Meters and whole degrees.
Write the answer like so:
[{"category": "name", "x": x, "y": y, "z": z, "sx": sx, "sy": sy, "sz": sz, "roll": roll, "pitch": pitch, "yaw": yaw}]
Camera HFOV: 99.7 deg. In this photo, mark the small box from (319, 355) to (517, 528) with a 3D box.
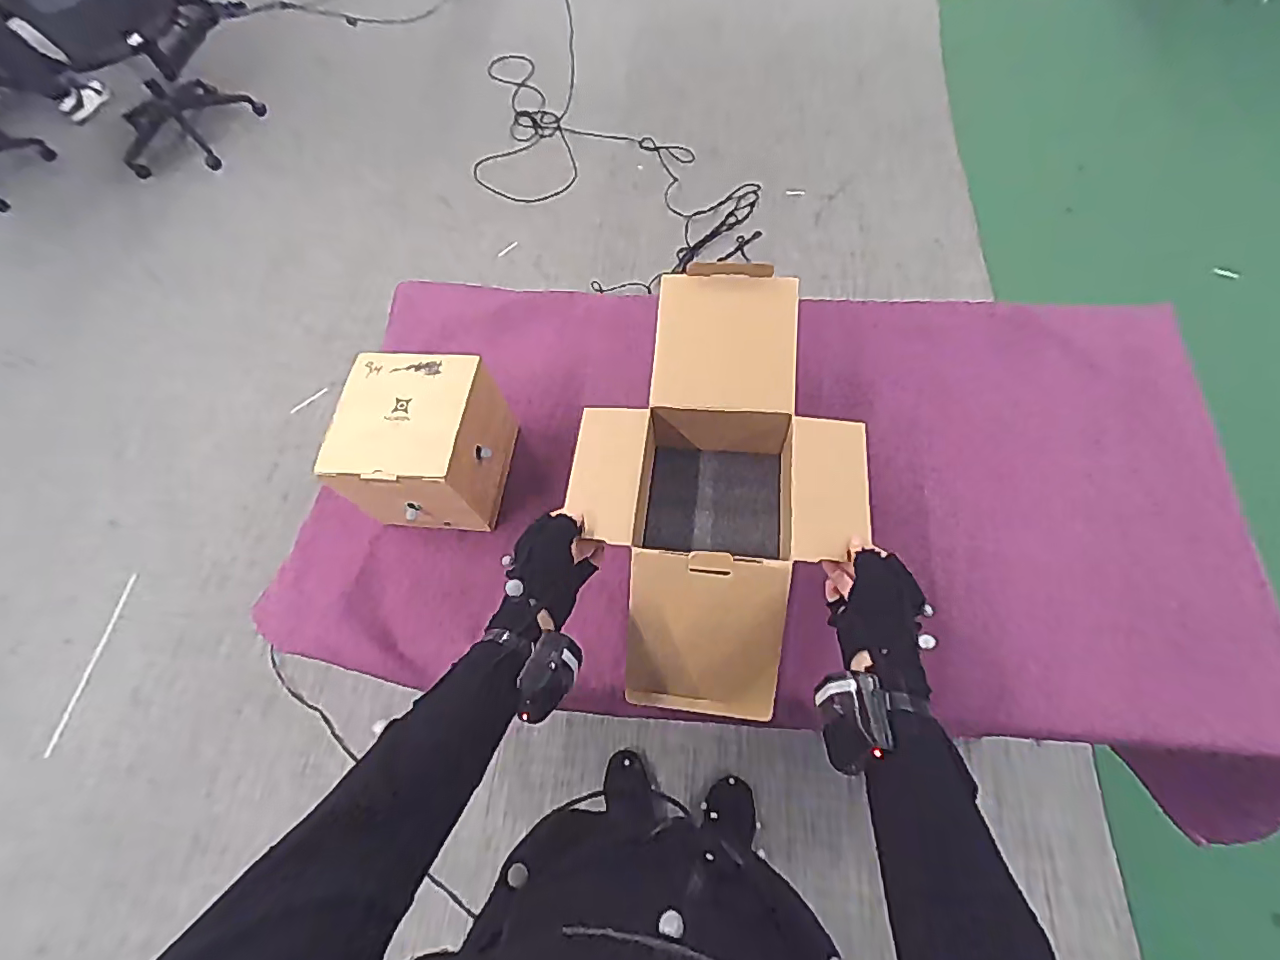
[{"category": "small box", "x": -0.277, "y": -0.045, "z": 0.722, "sx": 0.168, "sy": 0.176, "sz": 0.179, "roll": 3, "pitch": 65, "yaw": 7}]
